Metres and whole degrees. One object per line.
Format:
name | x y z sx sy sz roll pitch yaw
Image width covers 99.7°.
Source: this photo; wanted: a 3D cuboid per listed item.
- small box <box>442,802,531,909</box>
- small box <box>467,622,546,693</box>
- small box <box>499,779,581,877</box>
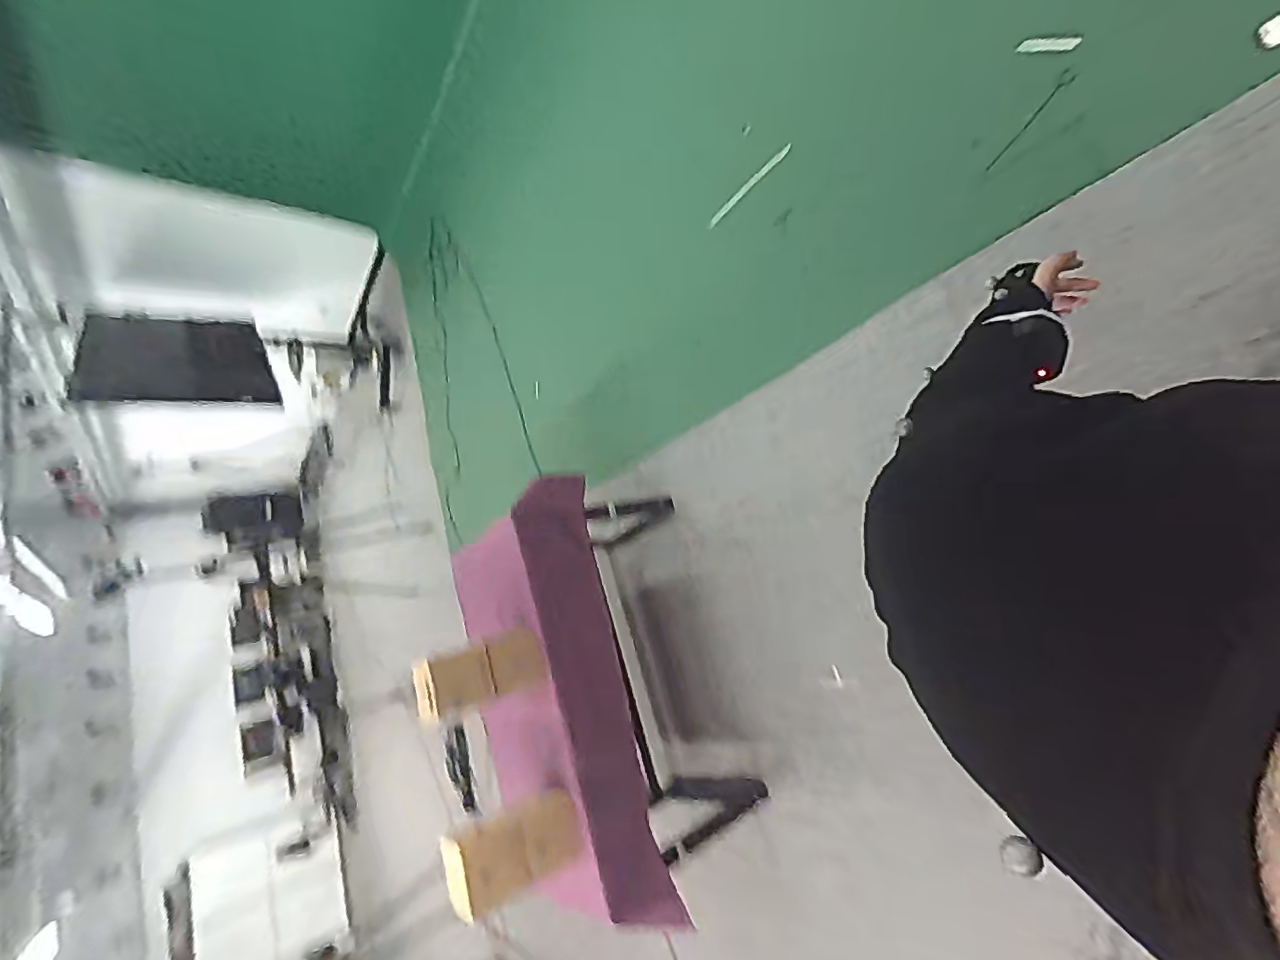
small box | -0.419 1.015 1.481 0.168 0.176 0.179 -29 73 48
small box | -0.416 0.550 1.686 0.168 0.176 0.179 -29 73 48
small box | -0.292 1.009 1.583 0.168 0.176 0.179 -28 72 48
